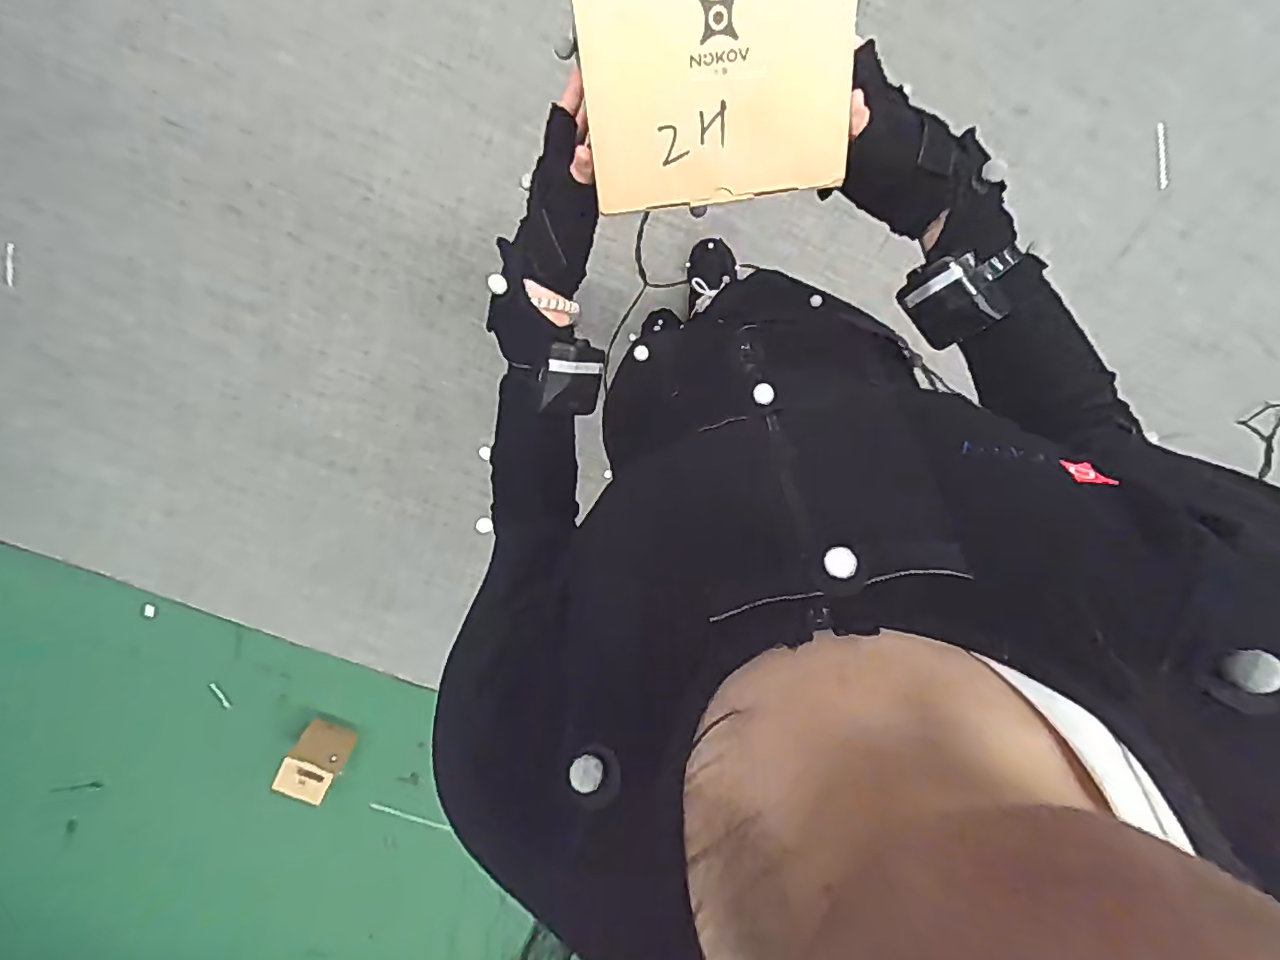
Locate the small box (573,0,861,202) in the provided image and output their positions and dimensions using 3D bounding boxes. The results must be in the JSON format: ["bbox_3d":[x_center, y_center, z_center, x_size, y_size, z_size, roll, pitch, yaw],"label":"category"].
[{"bbox_3d":[0.040,-0.302,0.378,0.168,0.176,0.179,-7,120,1],"label":"small box"}]
